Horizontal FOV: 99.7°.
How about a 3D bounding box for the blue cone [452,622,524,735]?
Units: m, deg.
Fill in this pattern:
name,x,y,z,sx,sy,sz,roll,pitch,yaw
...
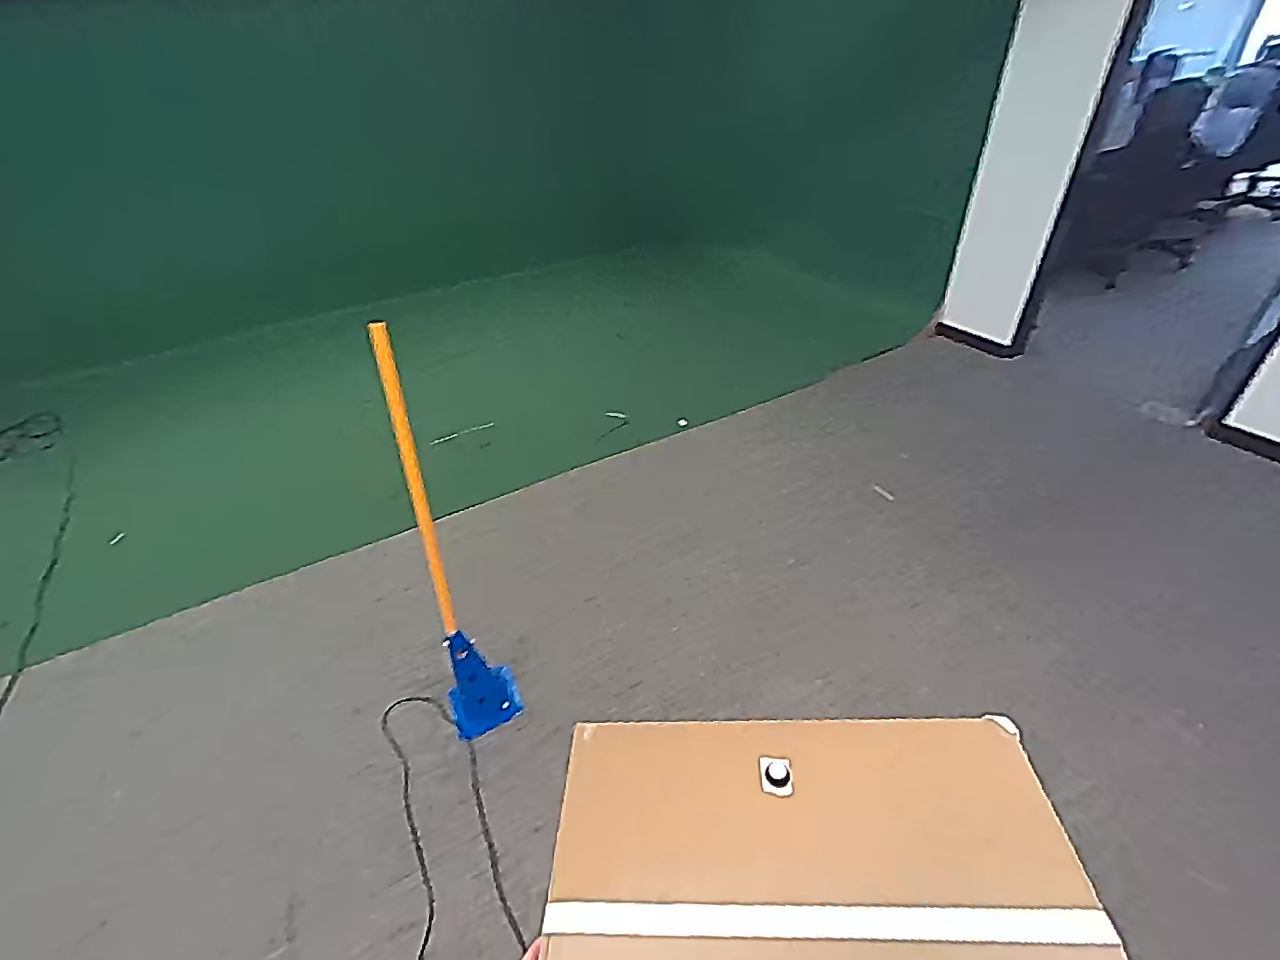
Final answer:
name,x,y,z,sx,sy,sz,roll,pitch,yaw
blue cone,-0.482,0.538,1.568,0.193,0.380,0.192,-22,41,-21
